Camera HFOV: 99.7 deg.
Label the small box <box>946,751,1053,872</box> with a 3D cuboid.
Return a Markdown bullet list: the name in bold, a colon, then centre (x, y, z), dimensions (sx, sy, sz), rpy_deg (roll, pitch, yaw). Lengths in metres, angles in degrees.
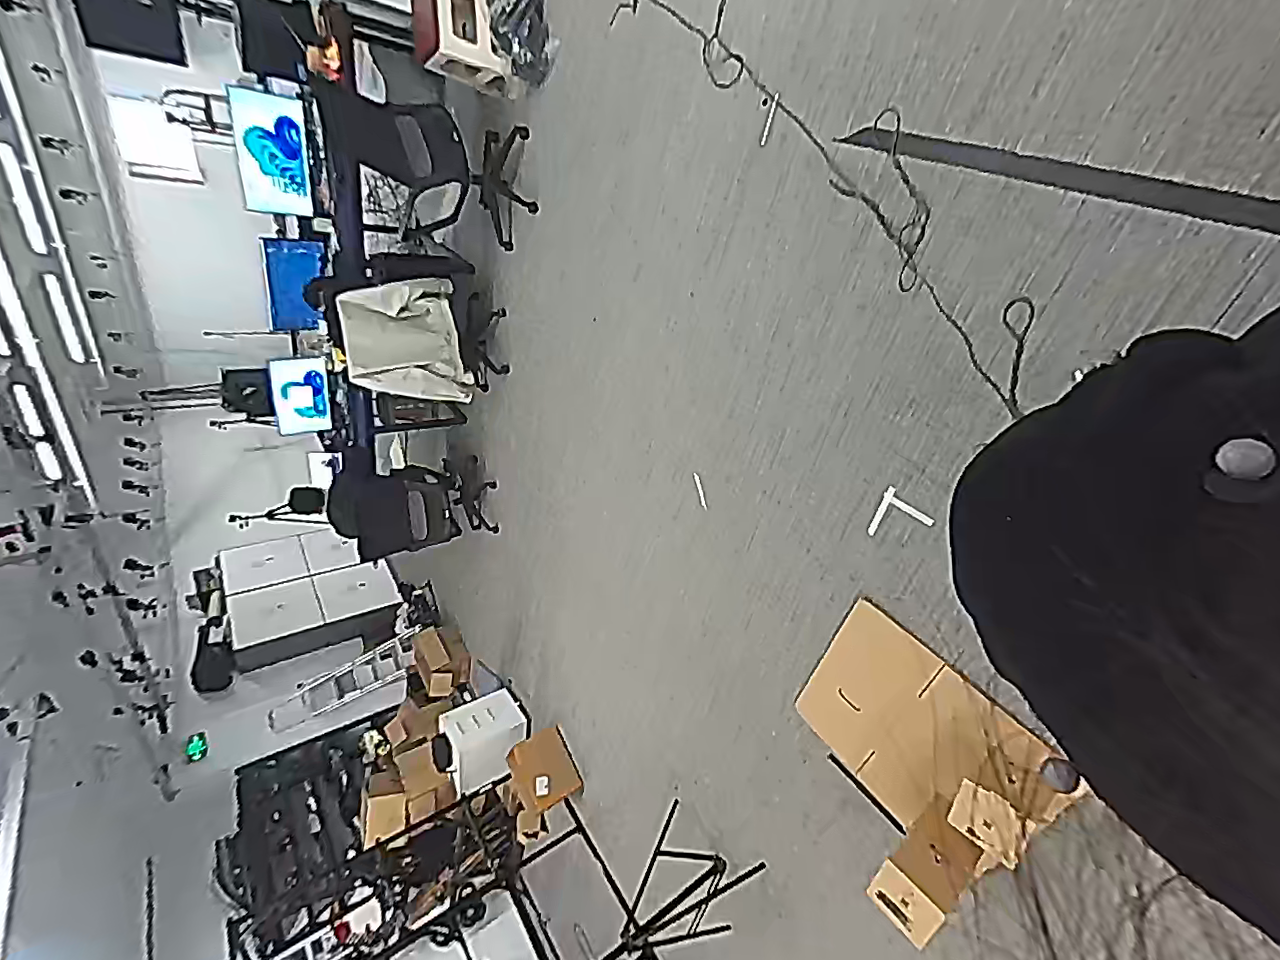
- **small box**: centre (0.945, 0.857, 1.418), dimensions (0.168, 0.176, 0.179), rpy_deg (28, 121, 45)

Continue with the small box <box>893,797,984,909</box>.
- **small box**: centre (0.878, 1.080, 1.576), dimensions (0.168, 0.176, 0.179), rpy_deg (33, 125, 43)
